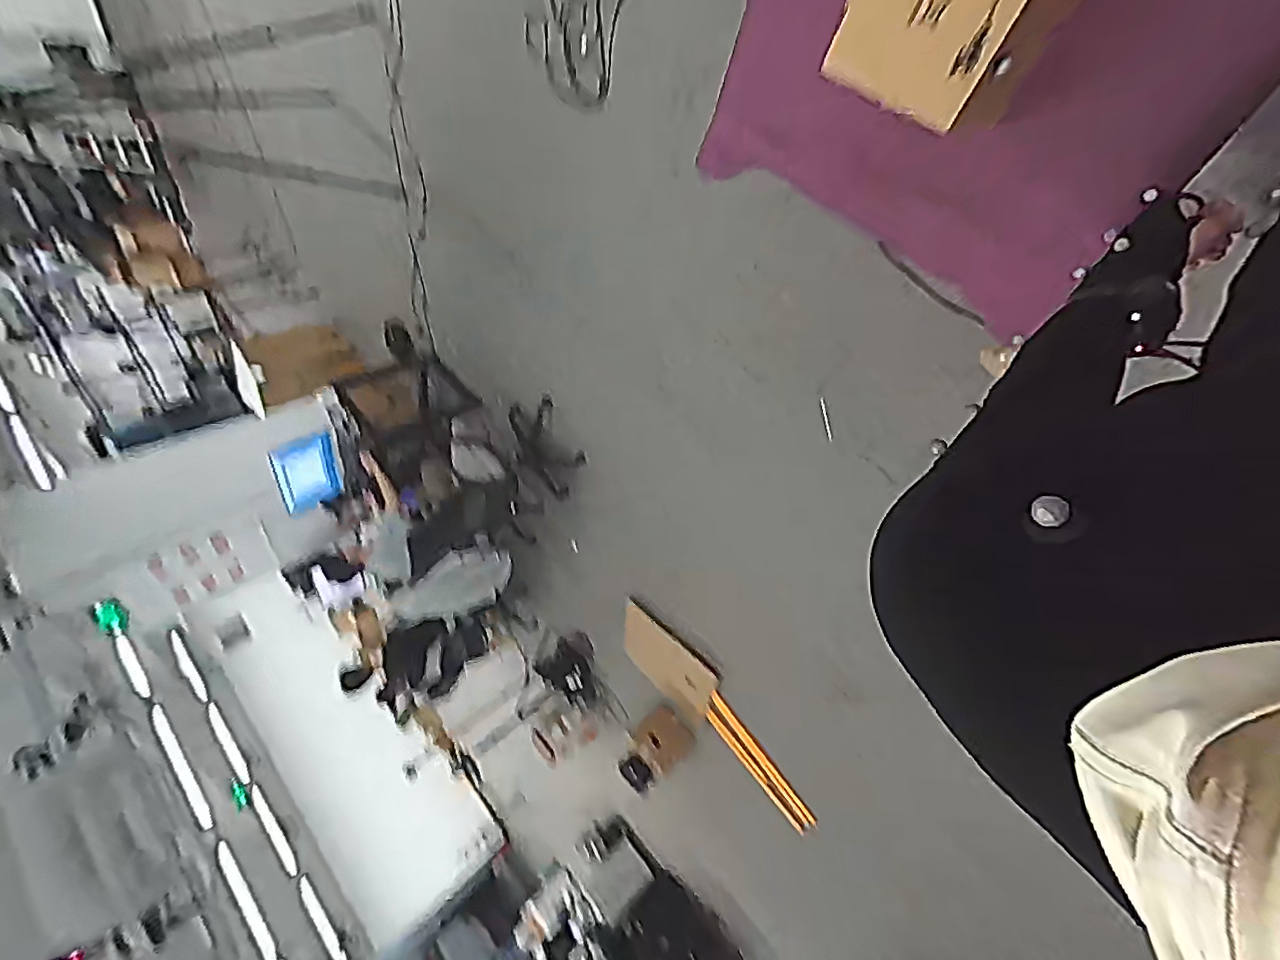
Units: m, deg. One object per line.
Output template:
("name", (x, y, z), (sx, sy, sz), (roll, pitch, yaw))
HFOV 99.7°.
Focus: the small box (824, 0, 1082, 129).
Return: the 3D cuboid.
("small box", (0.352, -0.516, 0.605), (0.179, 0.176, 0.168), (45, 140, 20))
